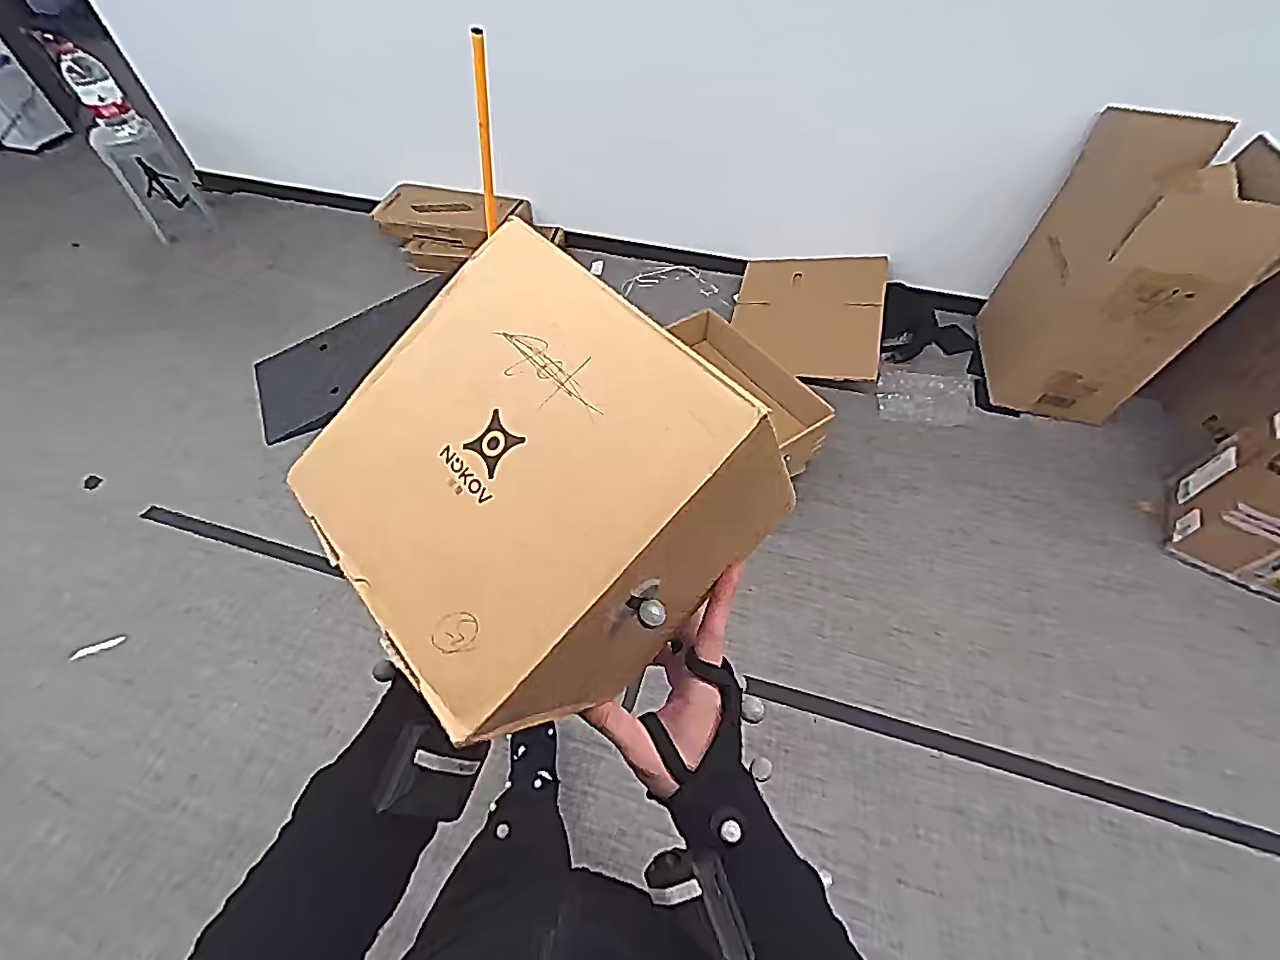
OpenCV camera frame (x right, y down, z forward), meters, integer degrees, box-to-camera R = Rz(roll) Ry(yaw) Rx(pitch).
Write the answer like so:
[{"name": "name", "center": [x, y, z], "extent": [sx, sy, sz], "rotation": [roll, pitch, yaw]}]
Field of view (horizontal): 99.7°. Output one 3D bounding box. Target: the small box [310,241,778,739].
[{"name": "small box", "center": [-0.035, 0.012, 0.318], "extent": [0.168, 0.176, 0.179], "rotation": [43, 92, 22]}]
